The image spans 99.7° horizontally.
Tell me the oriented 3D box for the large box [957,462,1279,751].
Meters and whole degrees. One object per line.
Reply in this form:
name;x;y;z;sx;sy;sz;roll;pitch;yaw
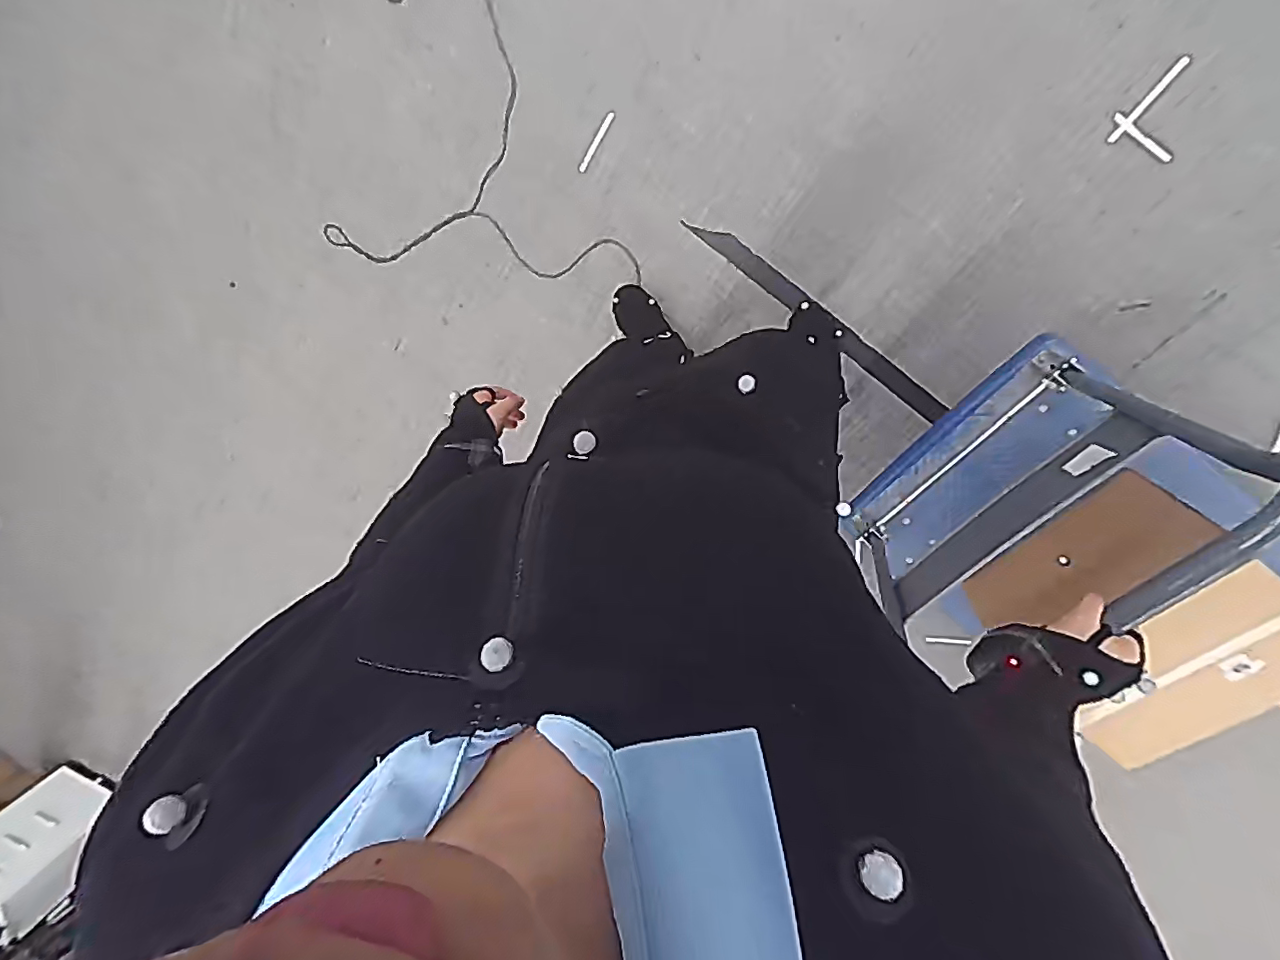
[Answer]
large box;0.951;0.242;1.087;0.320;0.320;0.408;38;116;-4
